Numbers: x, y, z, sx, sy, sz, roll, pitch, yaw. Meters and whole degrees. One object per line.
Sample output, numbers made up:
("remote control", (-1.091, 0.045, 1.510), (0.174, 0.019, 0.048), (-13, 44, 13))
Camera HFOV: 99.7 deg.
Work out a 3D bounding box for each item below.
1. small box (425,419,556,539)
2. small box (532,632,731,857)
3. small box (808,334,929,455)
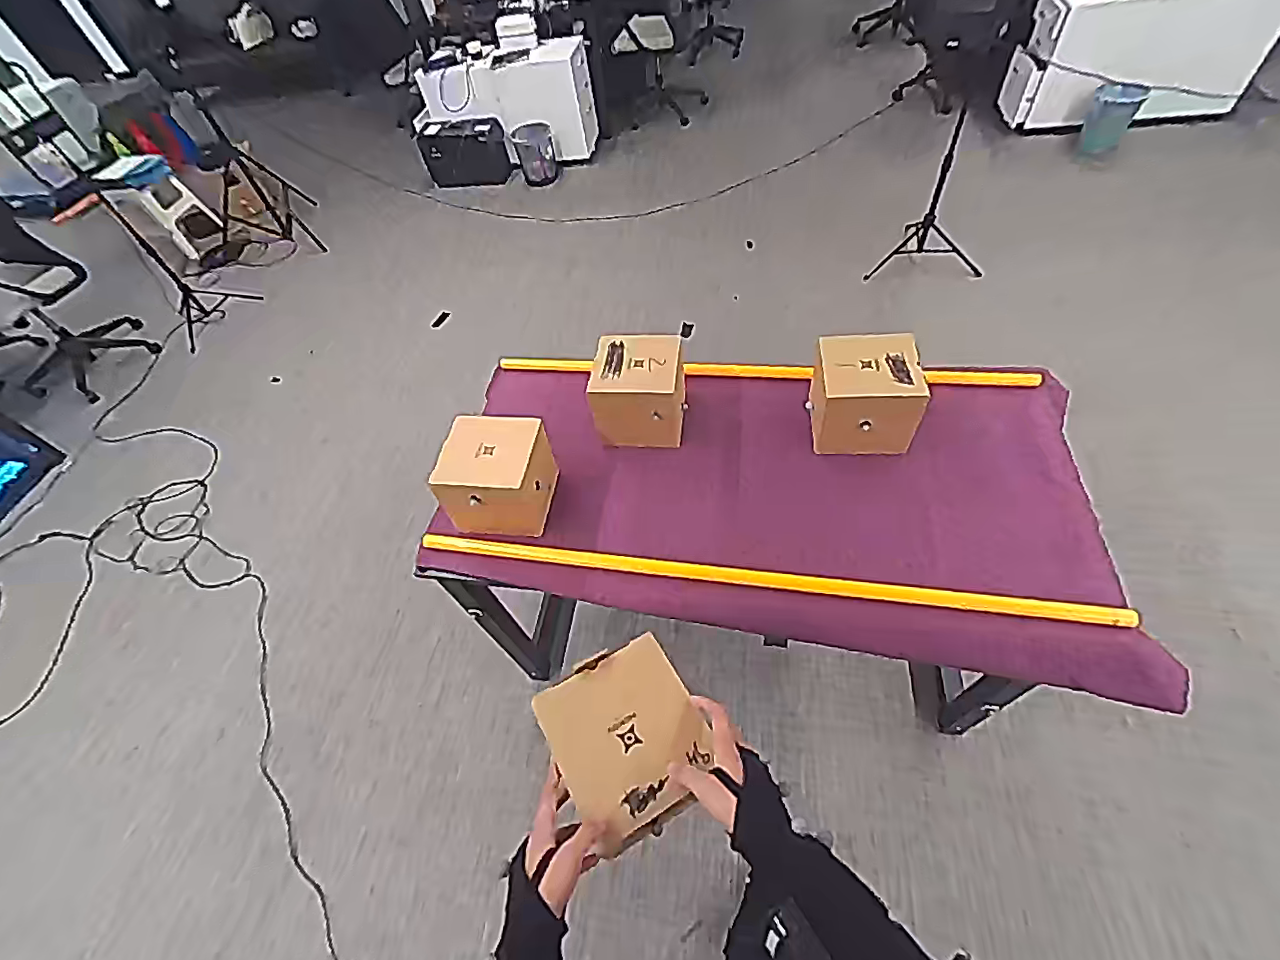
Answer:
("small box", (-0.274, 0.002, 1.044), (0.179, 0.176, 0.168), (2, 54, 9))
("small box", (-0.014, 0.325, 0.660), (0.168, 0.176, 0.179), (-25, 57, -16))
("small box", (0.431, -0.161, 1.049), (0.179, 0.176, 0.168), (0, 55, 11))
